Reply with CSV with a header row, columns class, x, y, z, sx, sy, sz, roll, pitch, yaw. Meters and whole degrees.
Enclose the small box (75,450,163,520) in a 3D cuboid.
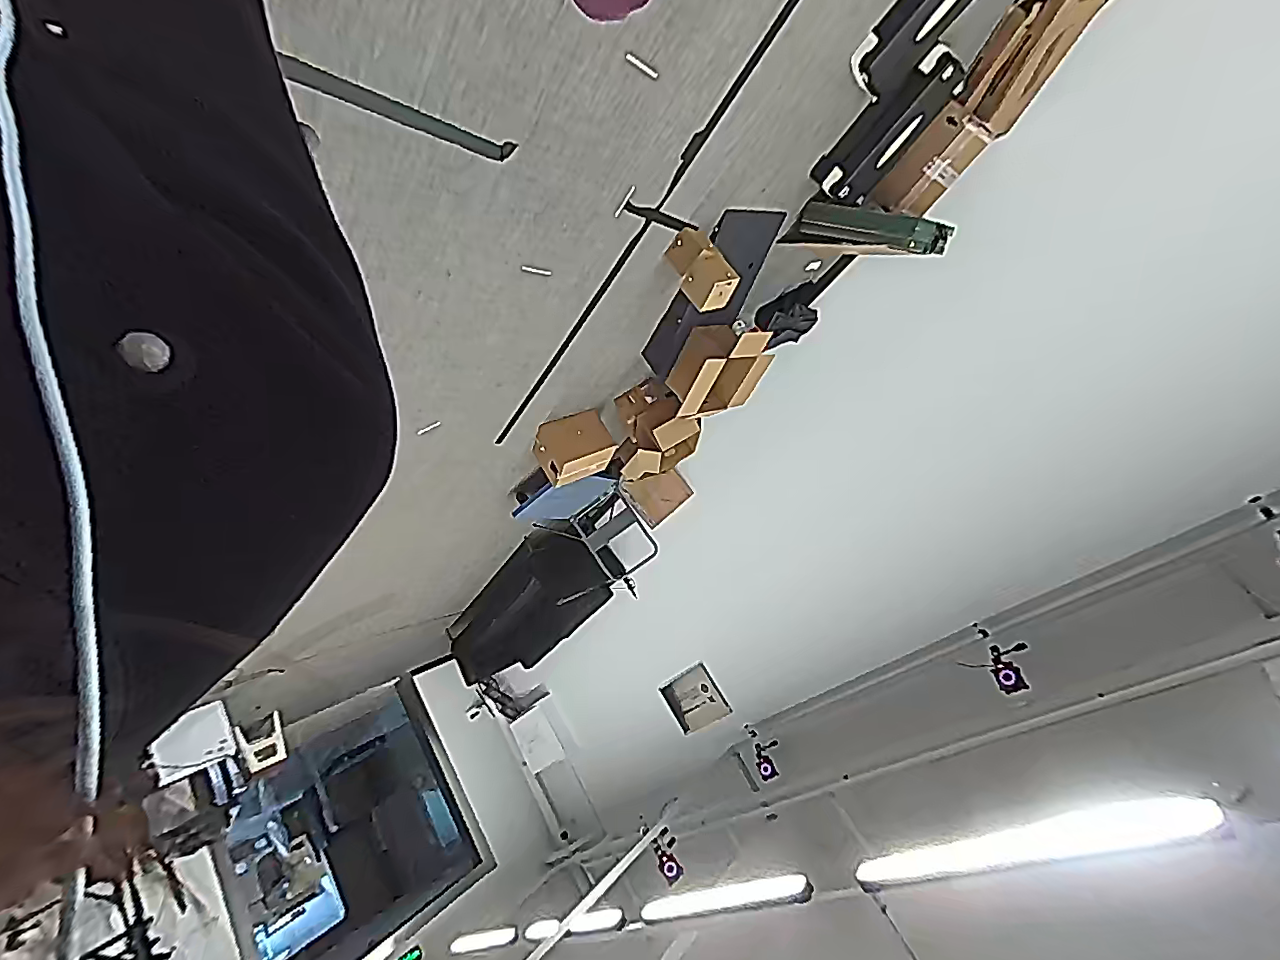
class,x,y,z,sx,sy,sz,roll,pitch,yaw
small box,-1.788,0.011,1.851,0.168,0.176,0.179,-43,162,29
